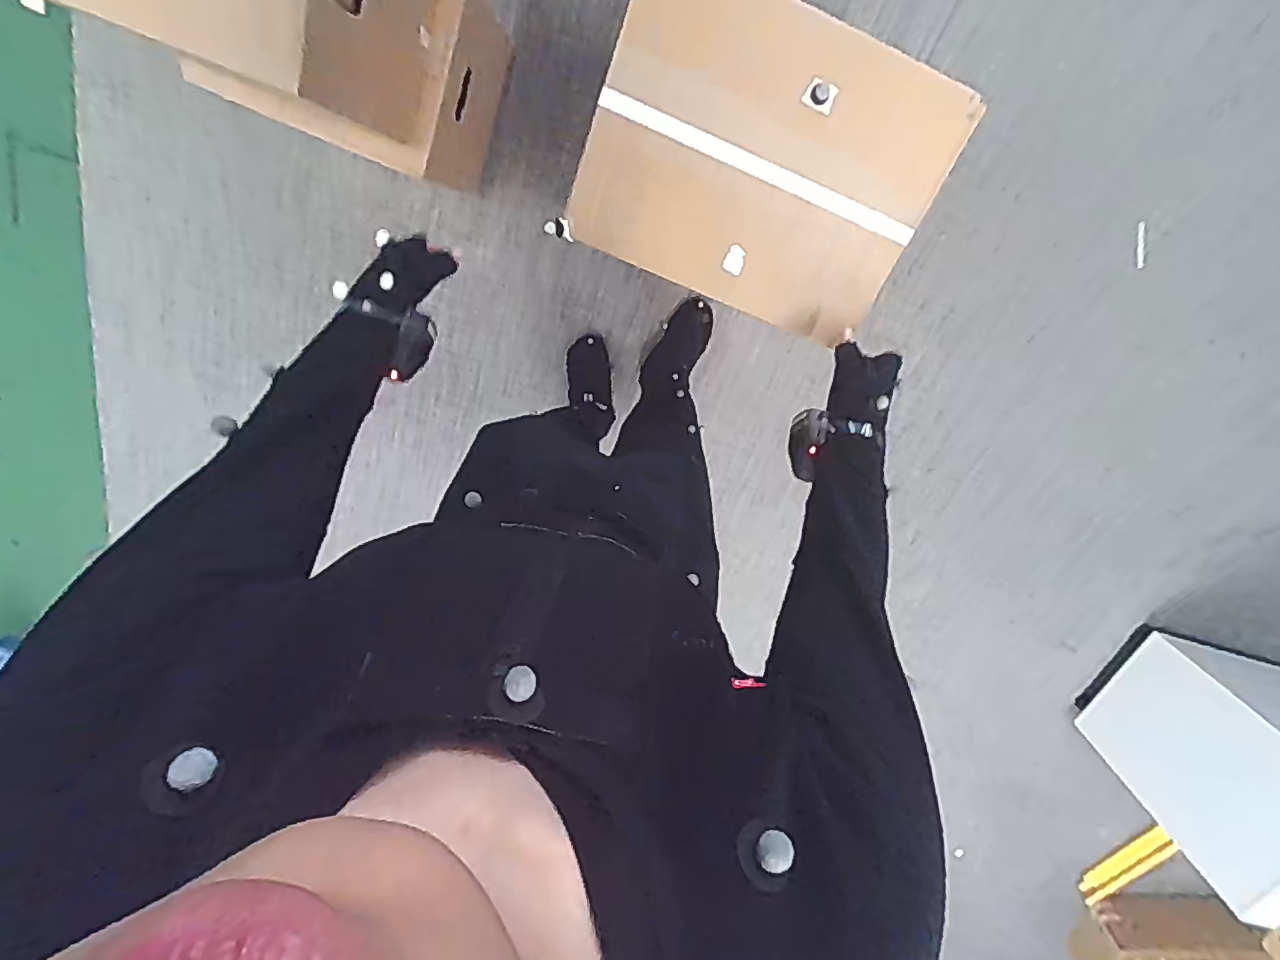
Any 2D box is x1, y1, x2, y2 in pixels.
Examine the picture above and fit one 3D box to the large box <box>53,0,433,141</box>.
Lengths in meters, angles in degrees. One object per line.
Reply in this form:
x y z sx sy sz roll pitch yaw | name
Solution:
-0.521 -0.699 0.686 0.408 0.320 0.320 19 111 -8 | large box
